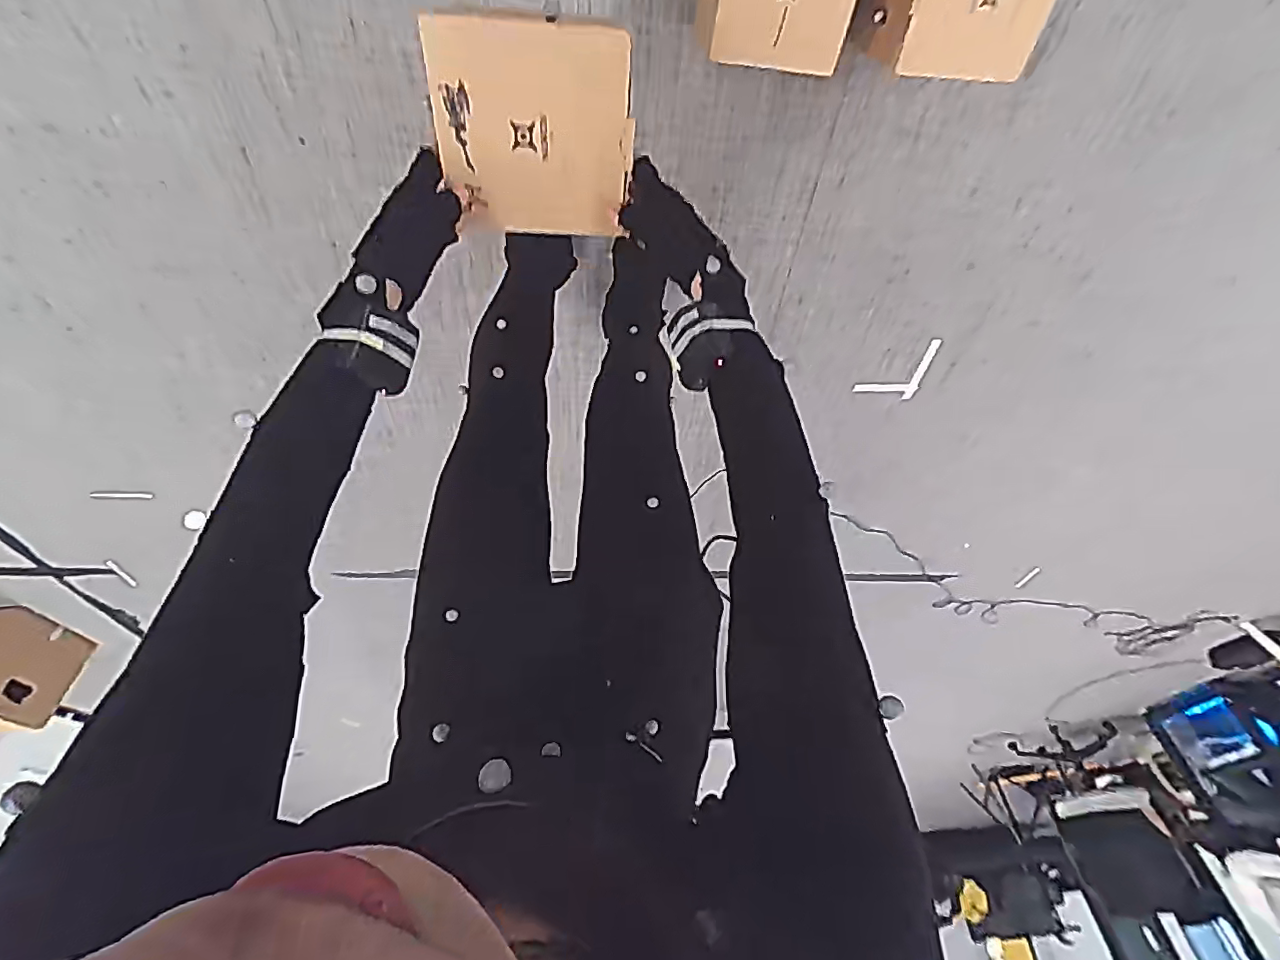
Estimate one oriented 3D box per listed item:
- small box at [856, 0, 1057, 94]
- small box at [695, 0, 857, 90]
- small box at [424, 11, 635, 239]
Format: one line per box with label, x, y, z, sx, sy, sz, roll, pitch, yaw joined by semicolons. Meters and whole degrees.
small box;0.409;-0.628;0.703;0.179;0.176;0.168;-1;140;-5
small box;0.171;-0.628;0.681;0.168;0.176;0.179;2;139;-7
small box;-0.102;-0.365;0.556;0.179;0.176;0.168;1;132;-5
